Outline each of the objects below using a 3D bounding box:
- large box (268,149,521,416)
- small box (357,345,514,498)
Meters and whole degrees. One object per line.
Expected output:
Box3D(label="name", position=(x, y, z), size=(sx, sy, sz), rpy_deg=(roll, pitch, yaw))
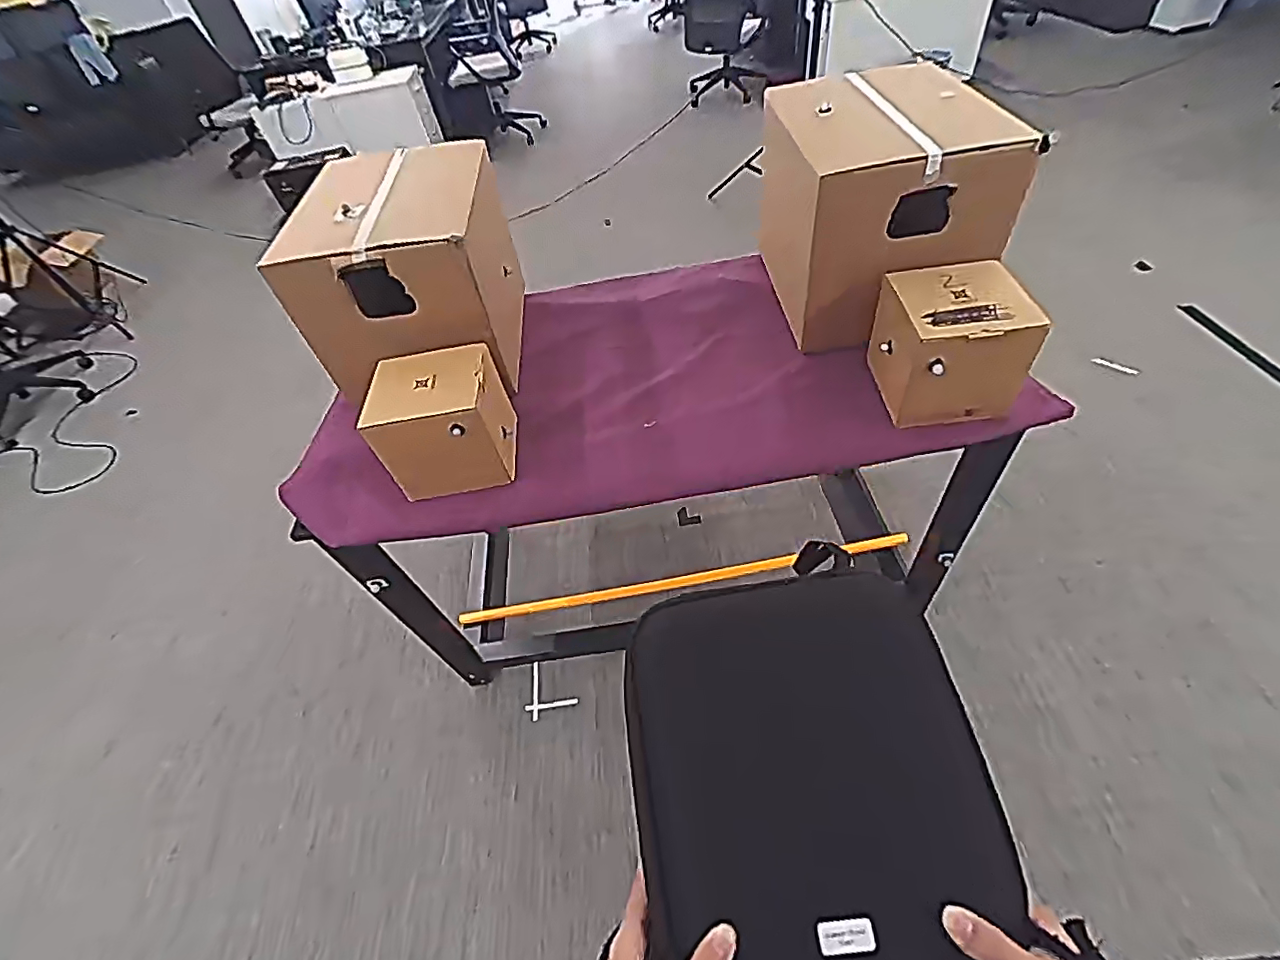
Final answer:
Box3D(label="large box", position=(-0.417, -0.377, 1.042), size=(0.320, 0.320, 0.408), rpy_deg=(-9, 51, 1))
Box3D(label="small box", position=(-0.316, -0.089, 0.874), size=(0.179, 0.176, 0.168), rpy_deg=(-10, 48, 0))
